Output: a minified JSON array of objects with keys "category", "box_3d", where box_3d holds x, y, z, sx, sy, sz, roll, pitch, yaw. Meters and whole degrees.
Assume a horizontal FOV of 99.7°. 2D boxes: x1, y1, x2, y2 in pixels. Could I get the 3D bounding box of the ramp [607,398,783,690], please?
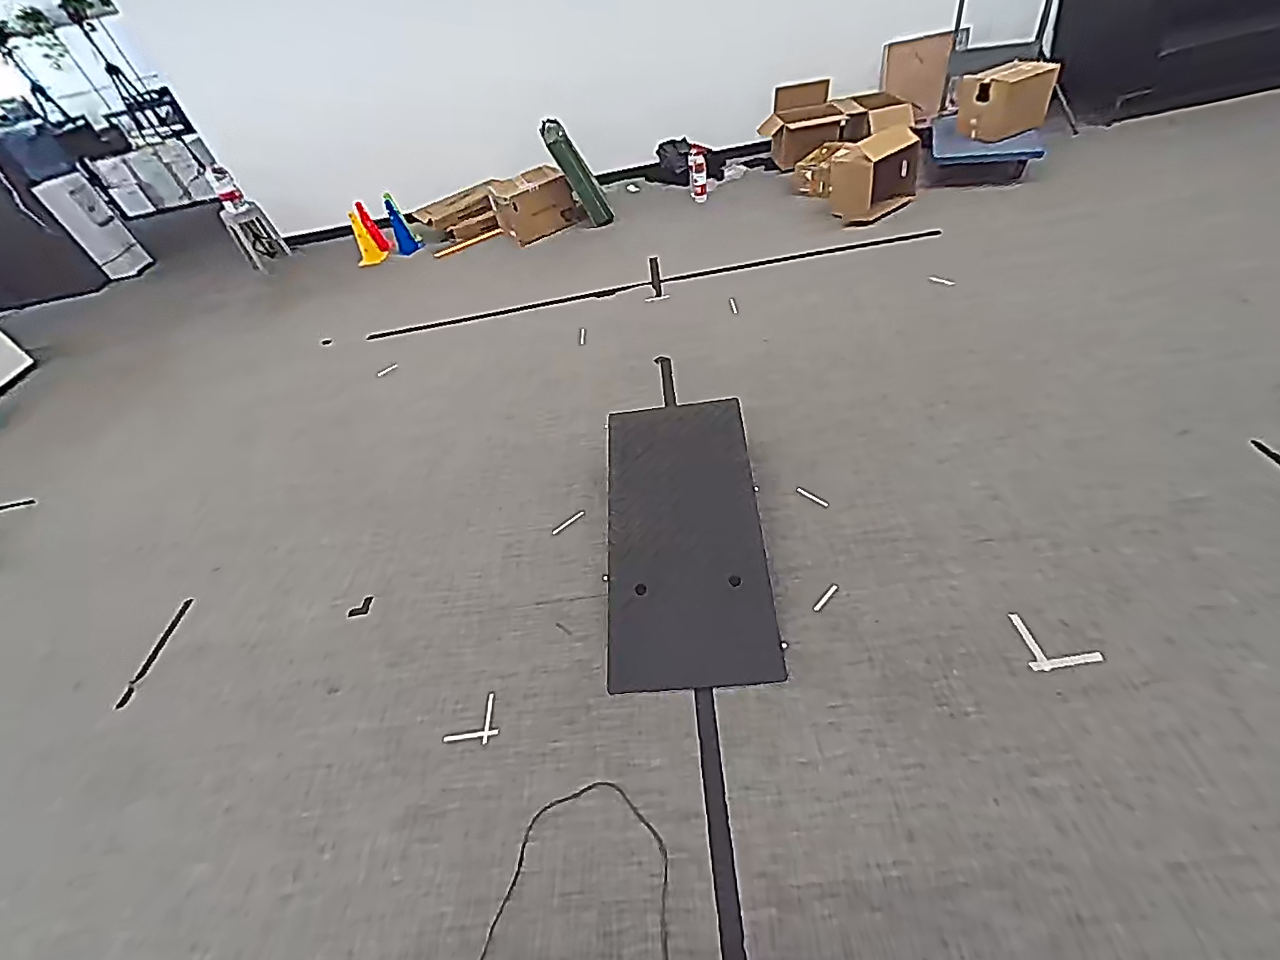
[{"category":"ramp","box_3d":[0.134,0.142,1.749,0.509,0.206,0.991,-7,46,5]}]
